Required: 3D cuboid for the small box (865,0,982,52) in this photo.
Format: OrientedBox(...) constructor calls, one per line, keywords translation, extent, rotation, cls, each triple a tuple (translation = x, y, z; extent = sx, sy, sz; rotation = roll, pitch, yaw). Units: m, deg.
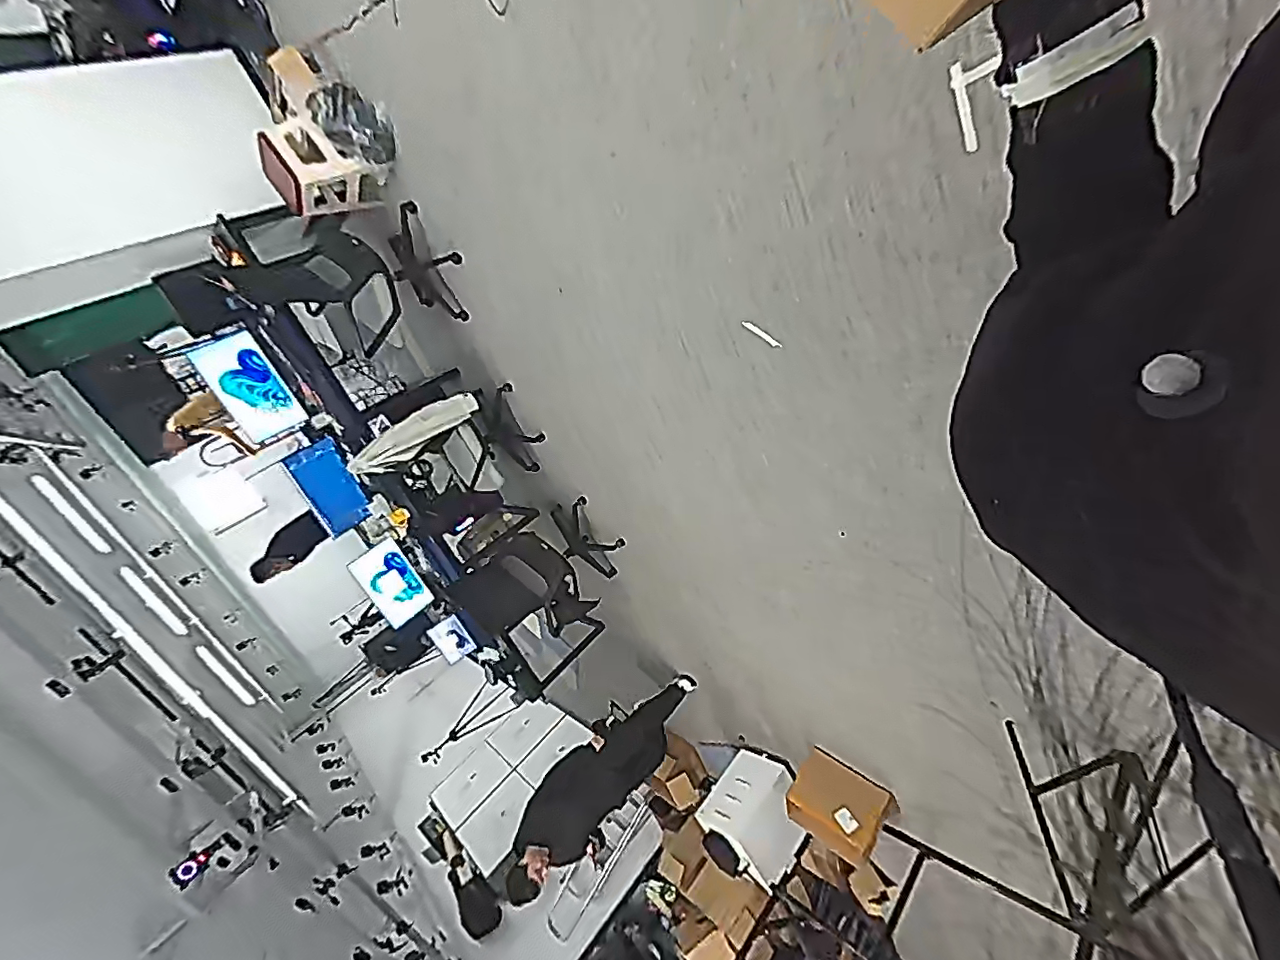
OrientedBox(translation=(0.139, -0.322, 0.203), extent=(0.179, 0.176, 0.168), rotation=(45, 147, -3), cls="small box")
